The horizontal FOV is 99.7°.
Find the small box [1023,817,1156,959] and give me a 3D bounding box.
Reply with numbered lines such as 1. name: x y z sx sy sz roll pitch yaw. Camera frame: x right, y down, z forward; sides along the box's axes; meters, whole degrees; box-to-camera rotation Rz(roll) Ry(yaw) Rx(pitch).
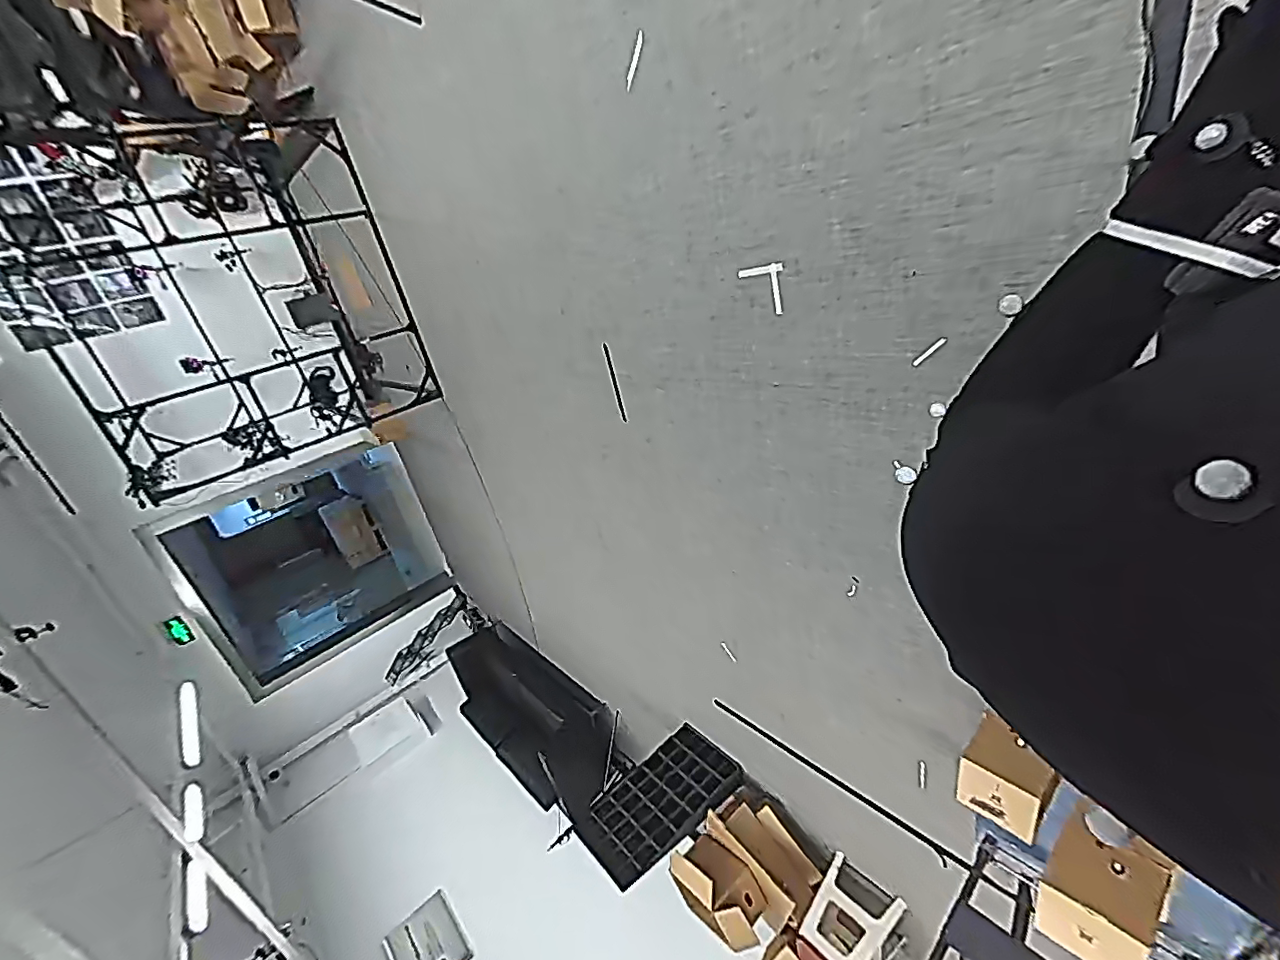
1. small box: 0.908 0.843 1.095 0.168 0.176 0.179 16 128 48

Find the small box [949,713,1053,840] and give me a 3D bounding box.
1. small box: 0.889 0.722 1.333 0.168 0.176 0.179 19 130 46

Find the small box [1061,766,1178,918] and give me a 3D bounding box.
1. small box: 1.033 0.771 1.173 0.168 0.176 0.179 14 126 50
